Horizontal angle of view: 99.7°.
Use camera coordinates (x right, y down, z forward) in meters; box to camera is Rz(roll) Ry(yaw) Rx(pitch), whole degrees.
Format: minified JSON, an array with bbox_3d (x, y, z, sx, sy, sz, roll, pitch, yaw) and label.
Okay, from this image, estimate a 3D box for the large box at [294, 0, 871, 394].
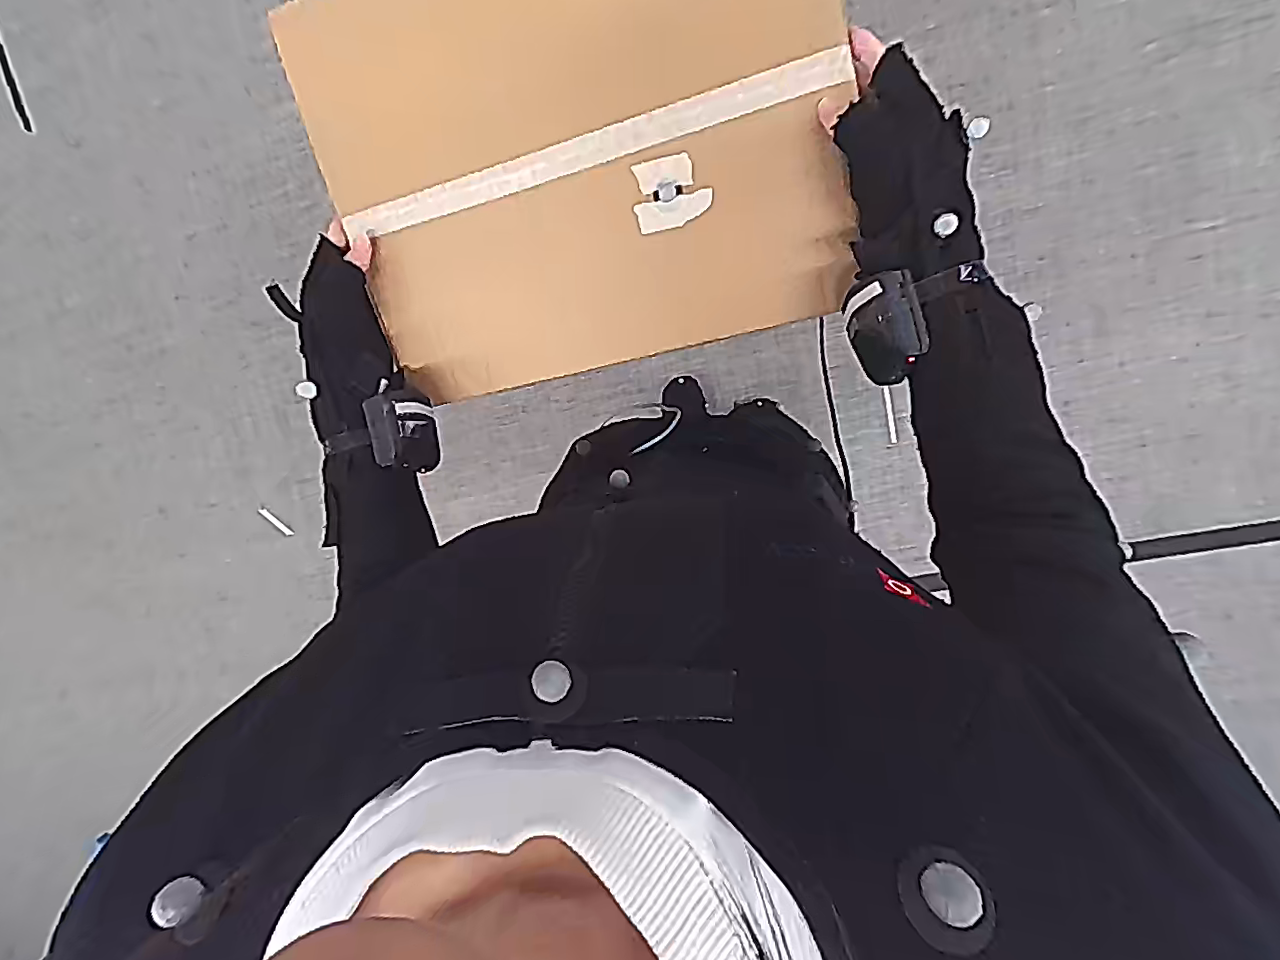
[{"bbox_3d":[-0.026,-0.305,0.558,0.408,0.320,0.320,-11,107,12],"label":"large box"}]
